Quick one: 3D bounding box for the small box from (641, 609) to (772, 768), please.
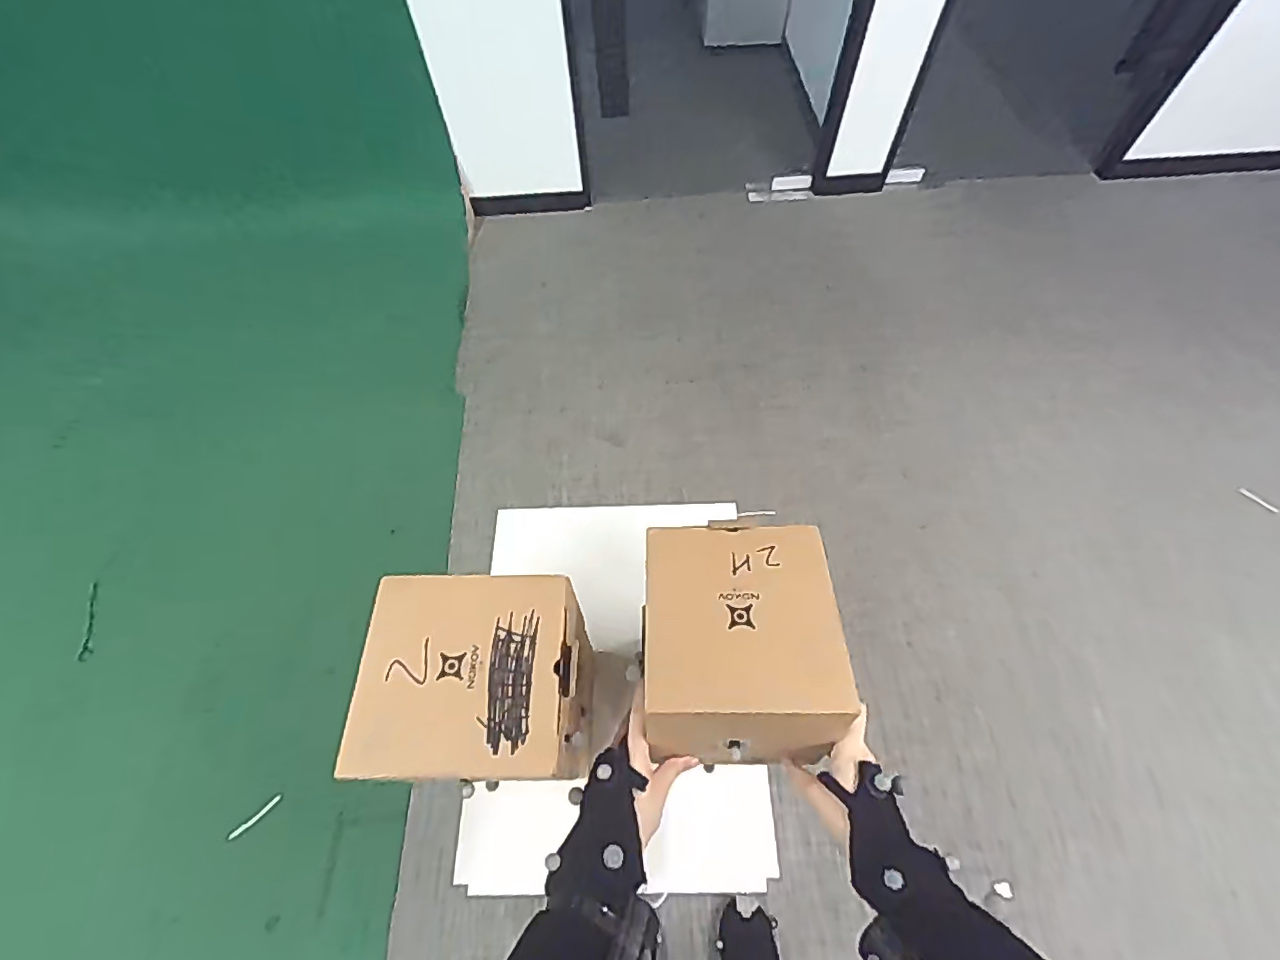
[{"bbox_3d":[0.093,0.266,0.681,0.179,0.176,0.168,0,60,2],"label":"small box"}]

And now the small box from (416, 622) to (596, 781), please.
[{"bbox_3d":[-0.151,0.282,0.679,0.179,0.176,0.168,0,61,-1],"label":"small box"}]

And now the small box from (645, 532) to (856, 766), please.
[{"bbox_3d":[0.092,0.169,0.531,0.168,0.176,0.179,0,50,2],"label":"small box"}]
